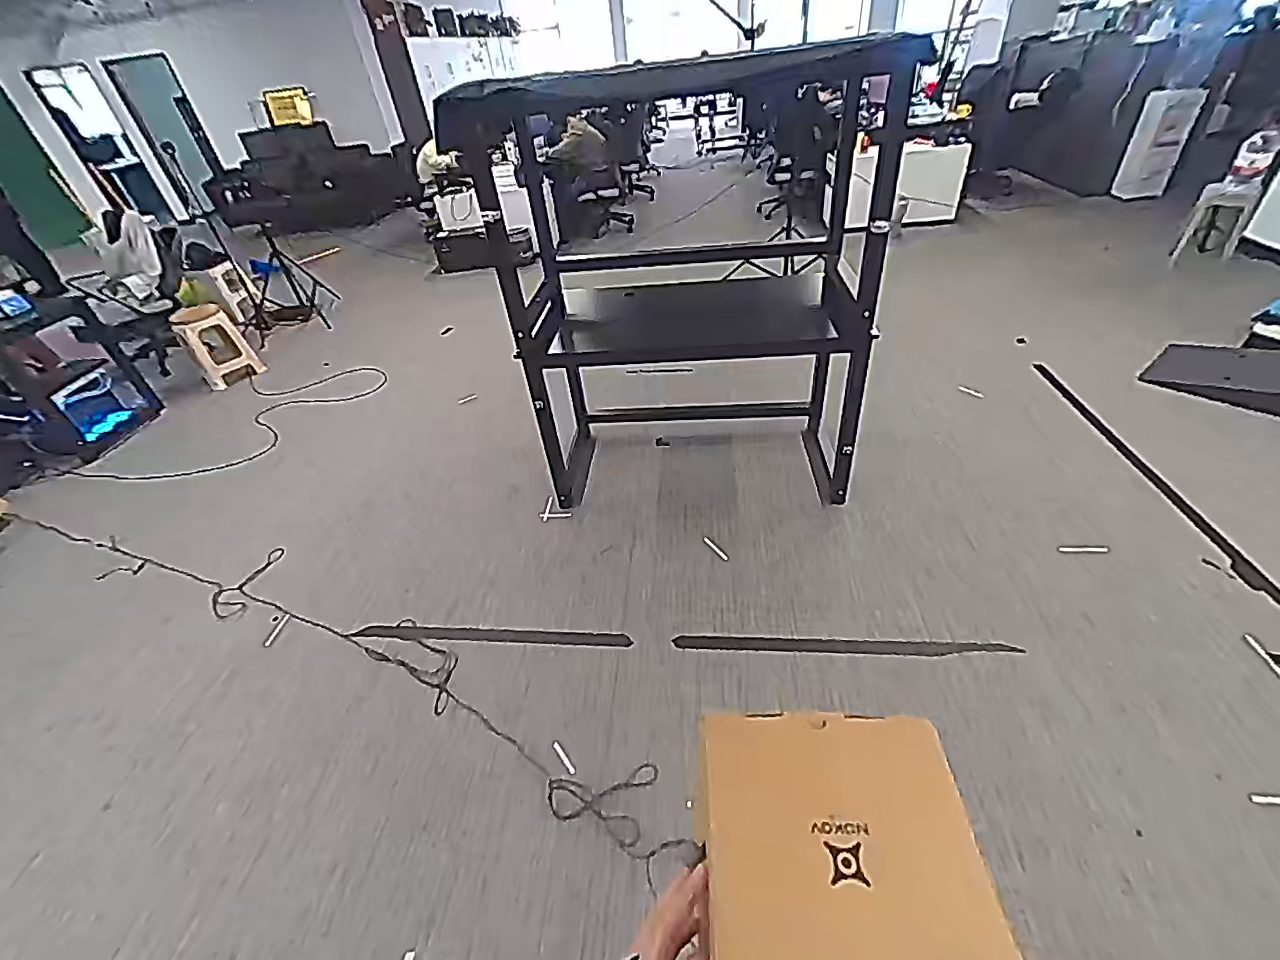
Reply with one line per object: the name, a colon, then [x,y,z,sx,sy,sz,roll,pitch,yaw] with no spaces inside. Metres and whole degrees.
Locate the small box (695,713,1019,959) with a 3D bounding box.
small box: [0.126,0.289,0.379,0.168,0.176,0.179,0,39,2]
